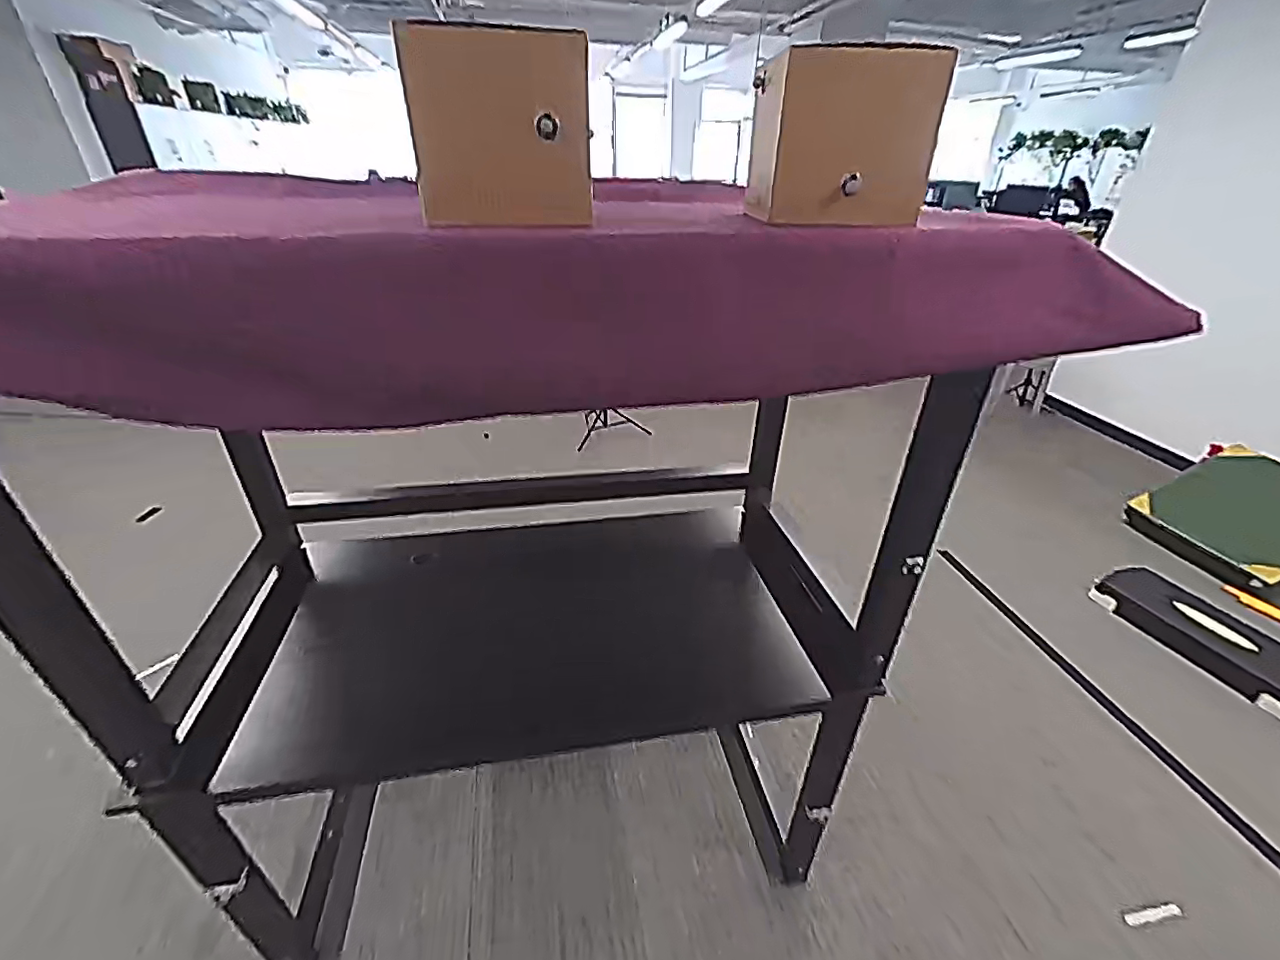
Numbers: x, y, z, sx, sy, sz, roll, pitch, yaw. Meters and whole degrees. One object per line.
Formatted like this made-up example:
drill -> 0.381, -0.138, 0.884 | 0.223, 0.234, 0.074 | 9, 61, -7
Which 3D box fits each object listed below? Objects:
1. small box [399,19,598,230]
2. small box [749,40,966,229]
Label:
small box -> -0.140, -0.375, 0.593 | 0.179, 0.176, 0.168 | -4, 30, -9
small box -> 0.239, -0.402, 0.646 | 0.179, 0.176, 0.168 | 1, 30, -1
